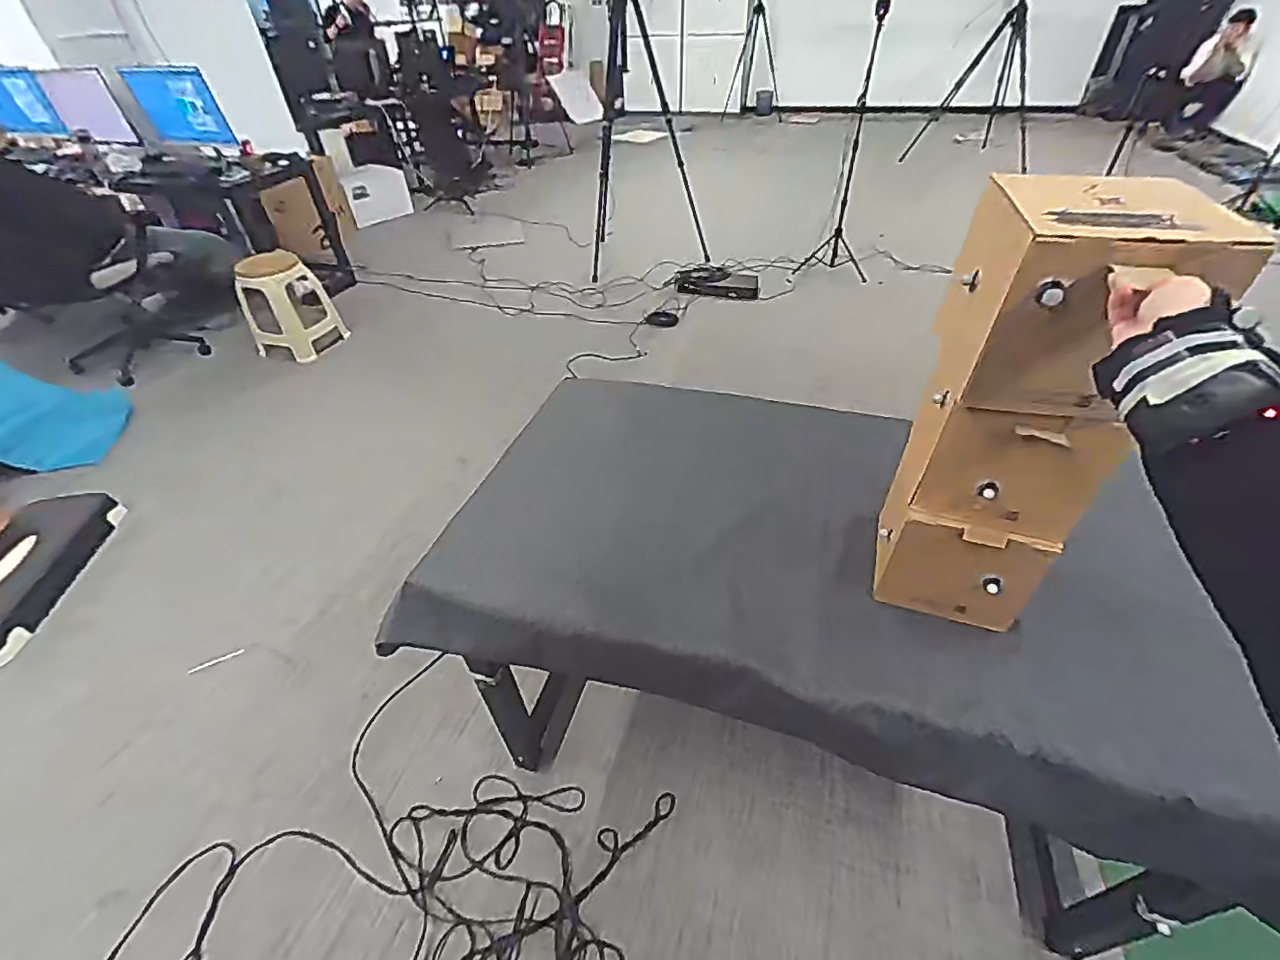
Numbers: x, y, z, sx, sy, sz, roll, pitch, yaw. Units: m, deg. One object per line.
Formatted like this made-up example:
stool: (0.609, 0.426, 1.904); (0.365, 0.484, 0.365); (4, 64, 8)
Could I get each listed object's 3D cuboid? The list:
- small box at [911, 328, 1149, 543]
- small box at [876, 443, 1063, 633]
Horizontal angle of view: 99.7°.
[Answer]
small box: (0.434, -0.054, 0.640); (0.168, 0.176, 0.179); (14, 44, 17)
small box: (0.430, 0.078, 0.736); (0.168, 0.176, 0.179); (13, 42, 16)
